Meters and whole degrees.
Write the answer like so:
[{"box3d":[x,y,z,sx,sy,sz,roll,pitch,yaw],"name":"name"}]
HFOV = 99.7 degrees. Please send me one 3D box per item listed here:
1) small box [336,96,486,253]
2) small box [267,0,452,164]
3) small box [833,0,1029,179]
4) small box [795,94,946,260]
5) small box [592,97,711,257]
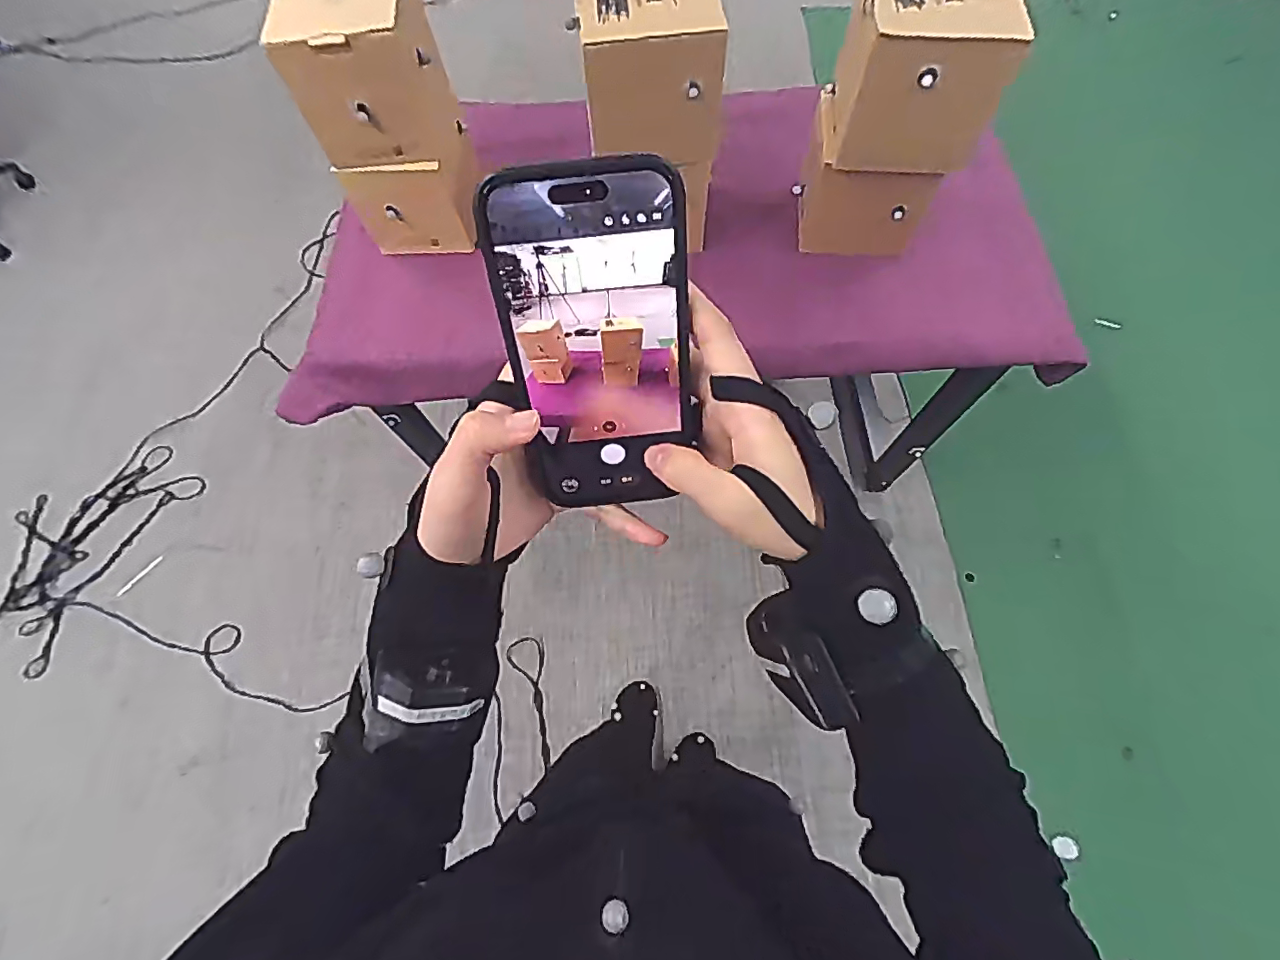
[{"box3d":[-0.371,-0.504,0.911,0.168,0.176,0.179,0,67,2],"name":"small box"},{"box3d":[-0.377,-0.575,0.763,0.168,0.176,0.179,-4,68,0],"name":"small box"},{"box3d":[0.362,-0.528,0.714,0.179,0.176,0.168,5,67,4],"name":"small box"},{"box3d":[0.359,-0.479,0.871,0.179,0.176,0.168,5,67,5],"name":"small box"},{"box3d":[0.019,-0.489,0.887,0.179,0.176,0.168,-1,67,2],"name":"small box"}]
